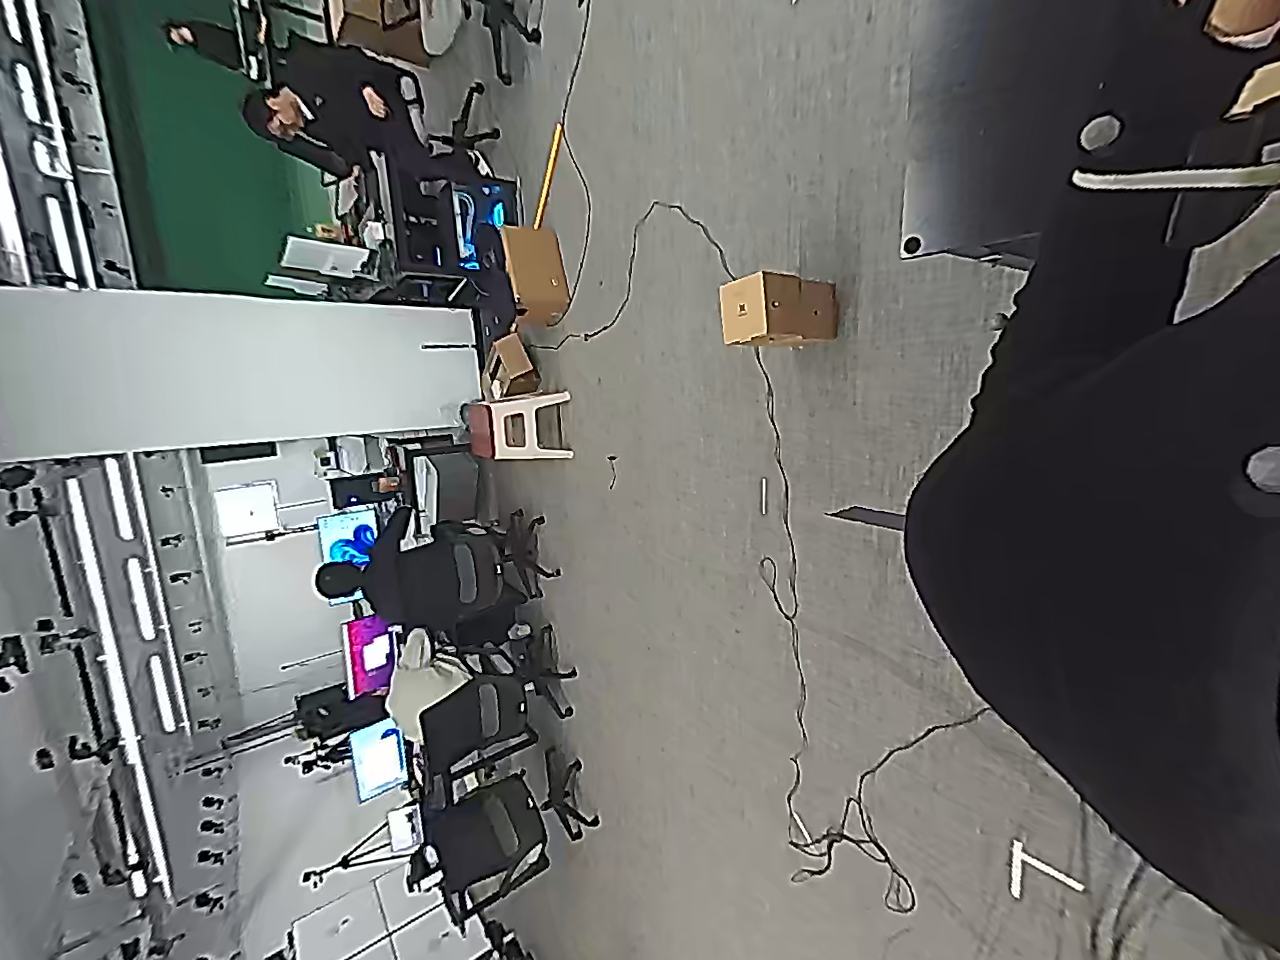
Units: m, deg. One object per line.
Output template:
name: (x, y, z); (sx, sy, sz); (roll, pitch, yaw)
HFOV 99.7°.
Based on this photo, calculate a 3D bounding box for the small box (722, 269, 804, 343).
small box: (0.366, -0.507, 1.594); (0.168, 0.176, 0.179); (2, 99, 53)

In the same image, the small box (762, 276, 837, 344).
small box: (0.497, -0.524, 1.690); (0.168, 0.176, 0.179); (6, 104, 53)
